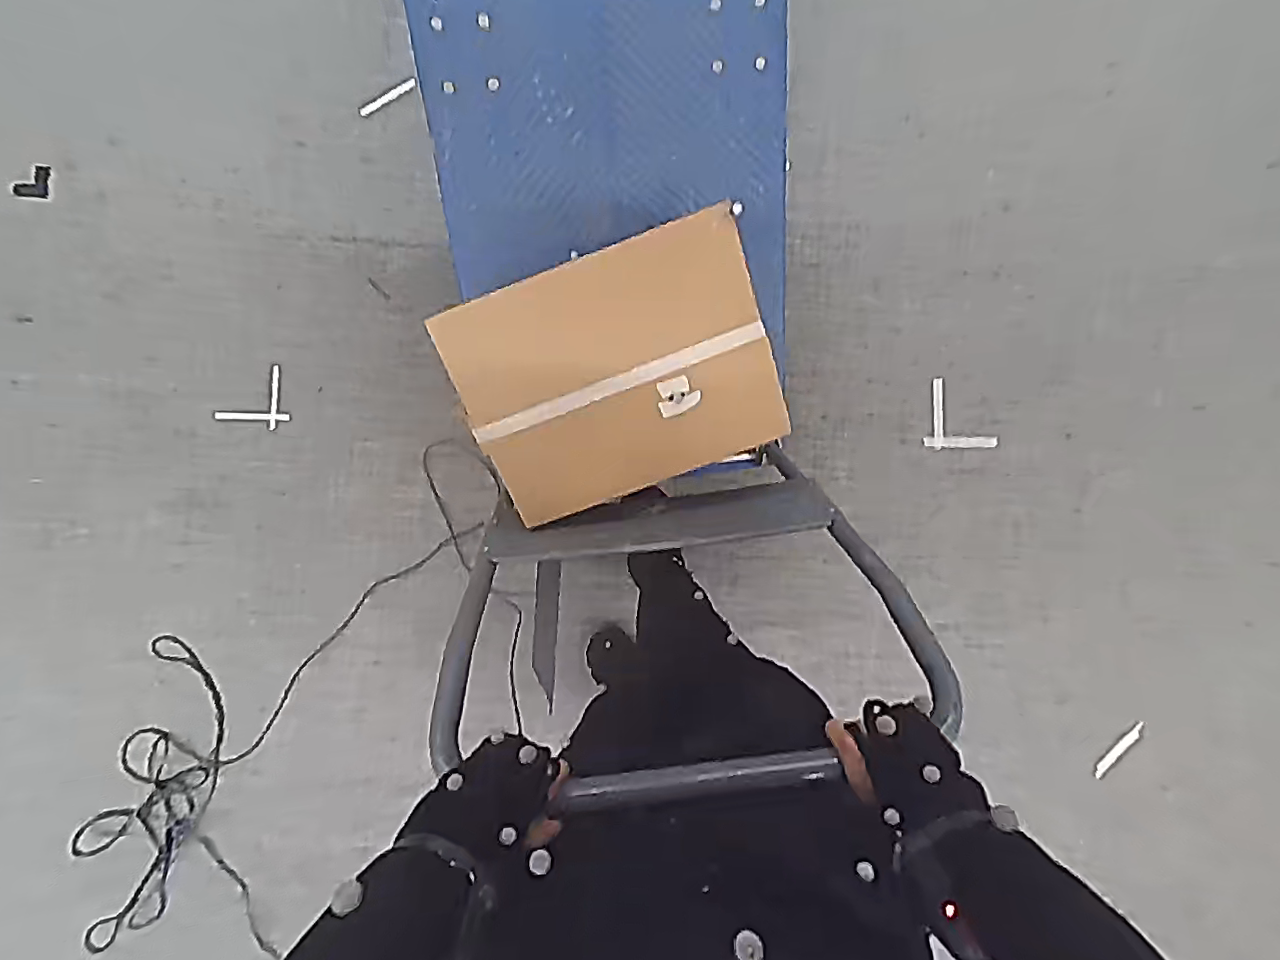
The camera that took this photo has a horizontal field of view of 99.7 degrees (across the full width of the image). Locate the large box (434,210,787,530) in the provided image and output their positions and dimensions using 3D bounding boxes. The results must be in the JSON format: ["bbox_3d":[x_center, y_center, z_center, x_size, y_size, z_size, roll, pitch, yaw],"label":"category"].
[{"bbox_3d":[-0.041,-0.178,0.862,0.408,0.320,0.320,-21,112,2],"label":"large box"}]
